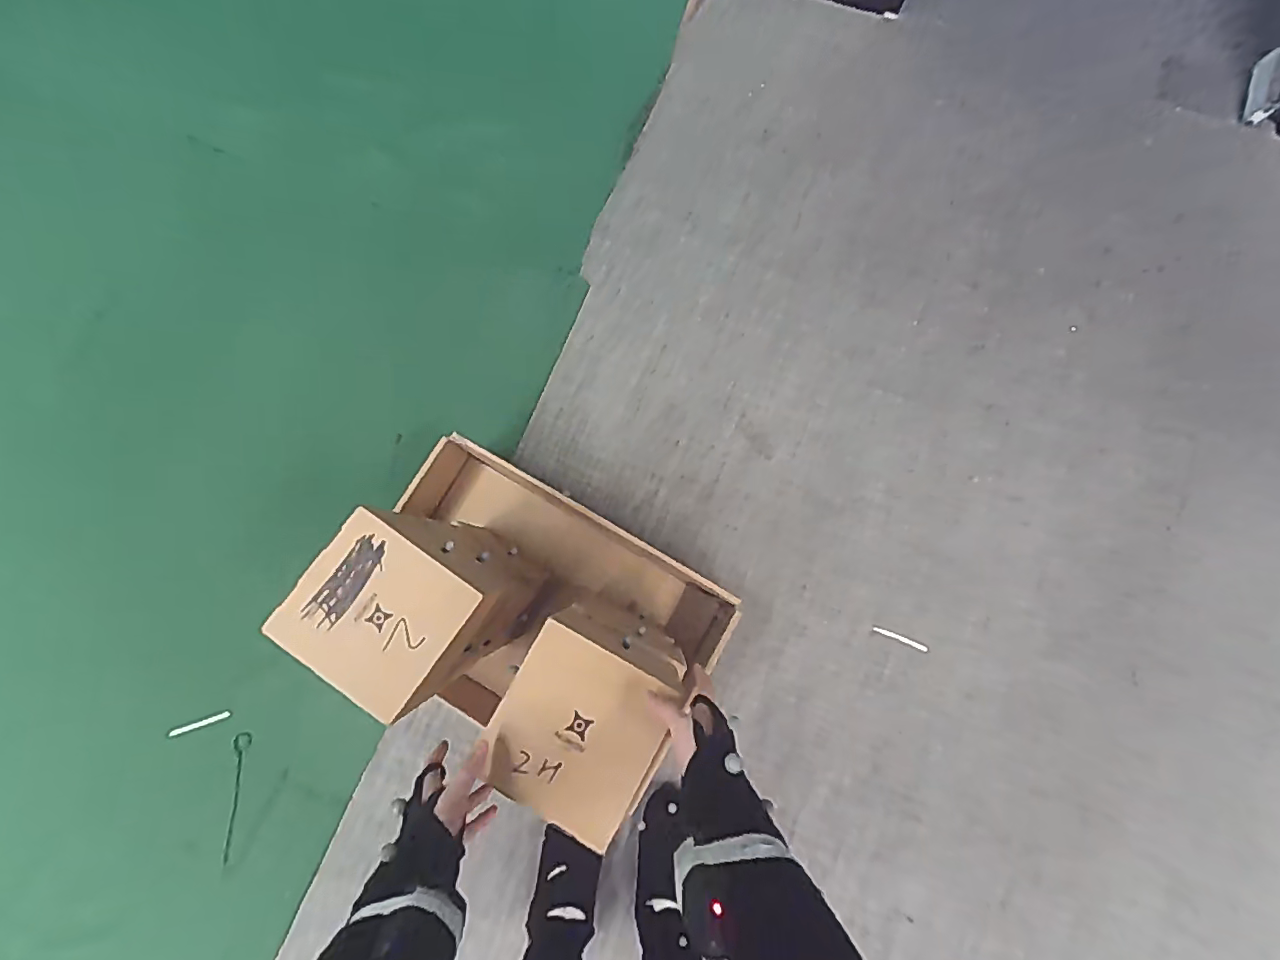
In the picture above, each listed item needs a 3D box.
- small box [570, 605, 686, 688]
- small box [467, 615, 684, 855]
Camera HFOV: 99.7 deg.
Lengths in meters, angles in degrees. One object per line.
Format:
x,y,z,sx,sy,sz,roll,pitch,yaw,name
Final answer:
-0.048,0.294,0.795,0.179,0.176,0.168,28,82,7,small box
-0.065,0.273,0.631,0.168,0.176,0.179,29,82,7,small box
